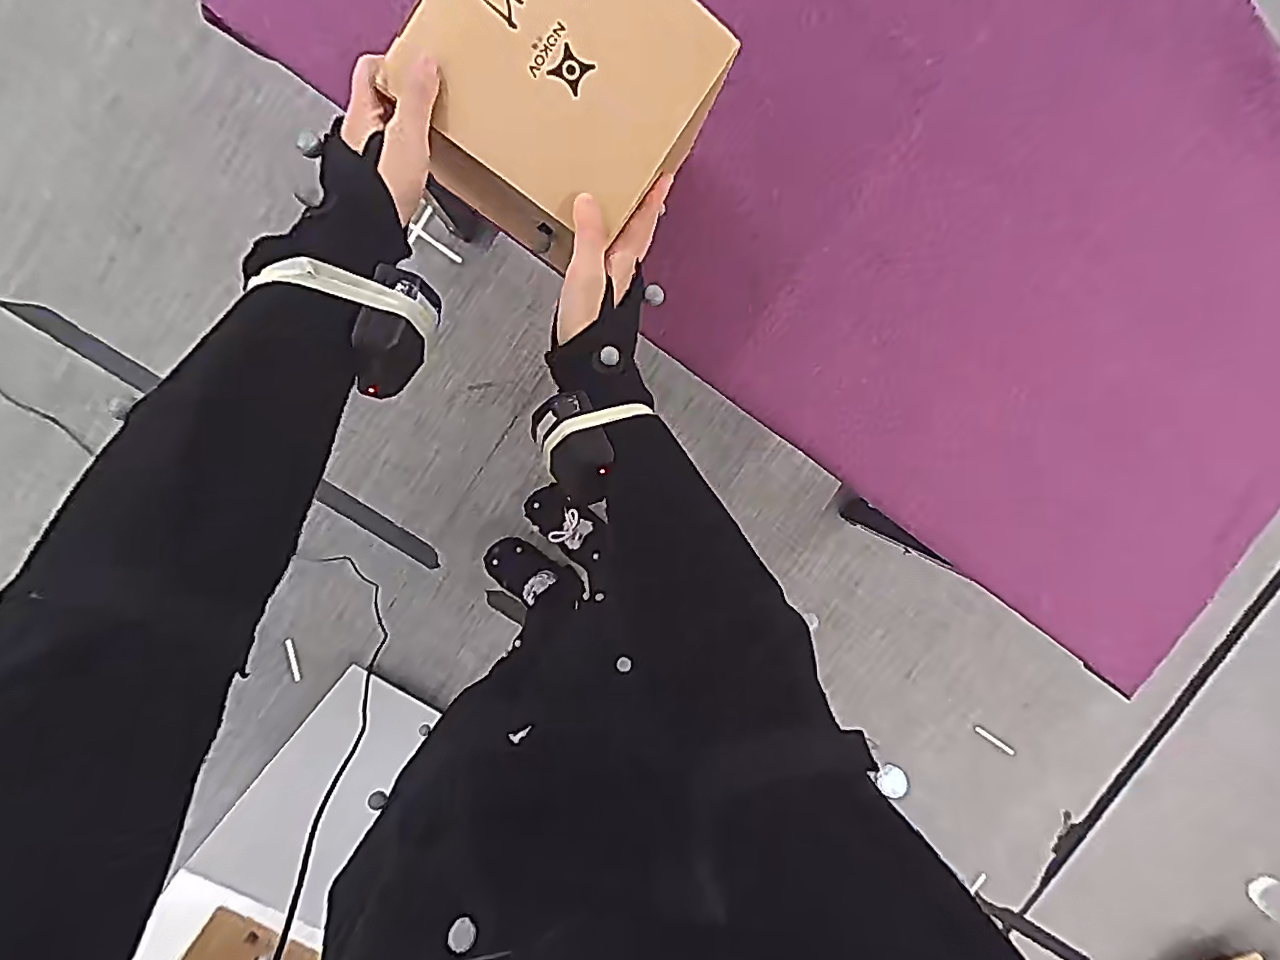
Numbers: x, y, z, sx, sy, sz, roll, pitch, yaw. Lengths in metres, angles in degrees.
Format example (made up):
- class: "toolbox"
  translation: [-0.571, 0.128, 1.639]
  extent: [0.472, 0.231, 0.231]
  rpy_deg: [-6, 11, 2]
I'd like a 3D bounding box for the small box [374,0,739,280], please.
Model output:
- class: "small box"
  translation: [-0.058, -0.279, 0.420]
  extent: [0.179, 0.176, 0.168]
  rpy_deg: [33, 94, -11]
